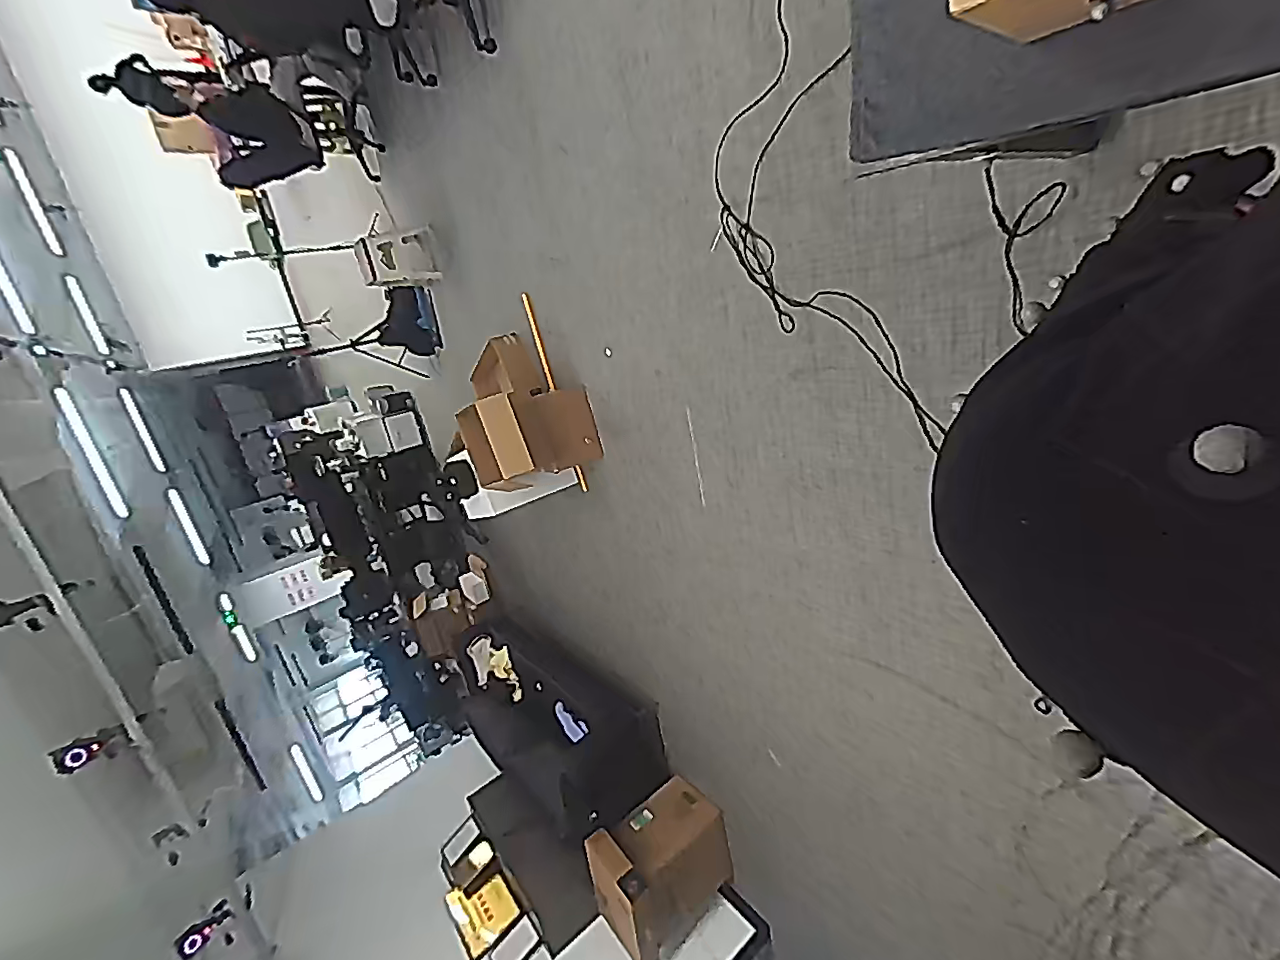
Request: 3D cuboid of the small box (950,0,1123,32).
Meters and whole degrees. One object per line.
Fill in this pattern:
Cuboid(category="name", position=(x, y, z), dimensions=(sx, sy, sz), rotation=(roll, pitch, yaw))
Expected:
Cuboid(category="small box", position=(0.377, -0.506, 0.434), dimensions=(0.168, 0.176, 0.179), rotation=(18, 122, 50))
